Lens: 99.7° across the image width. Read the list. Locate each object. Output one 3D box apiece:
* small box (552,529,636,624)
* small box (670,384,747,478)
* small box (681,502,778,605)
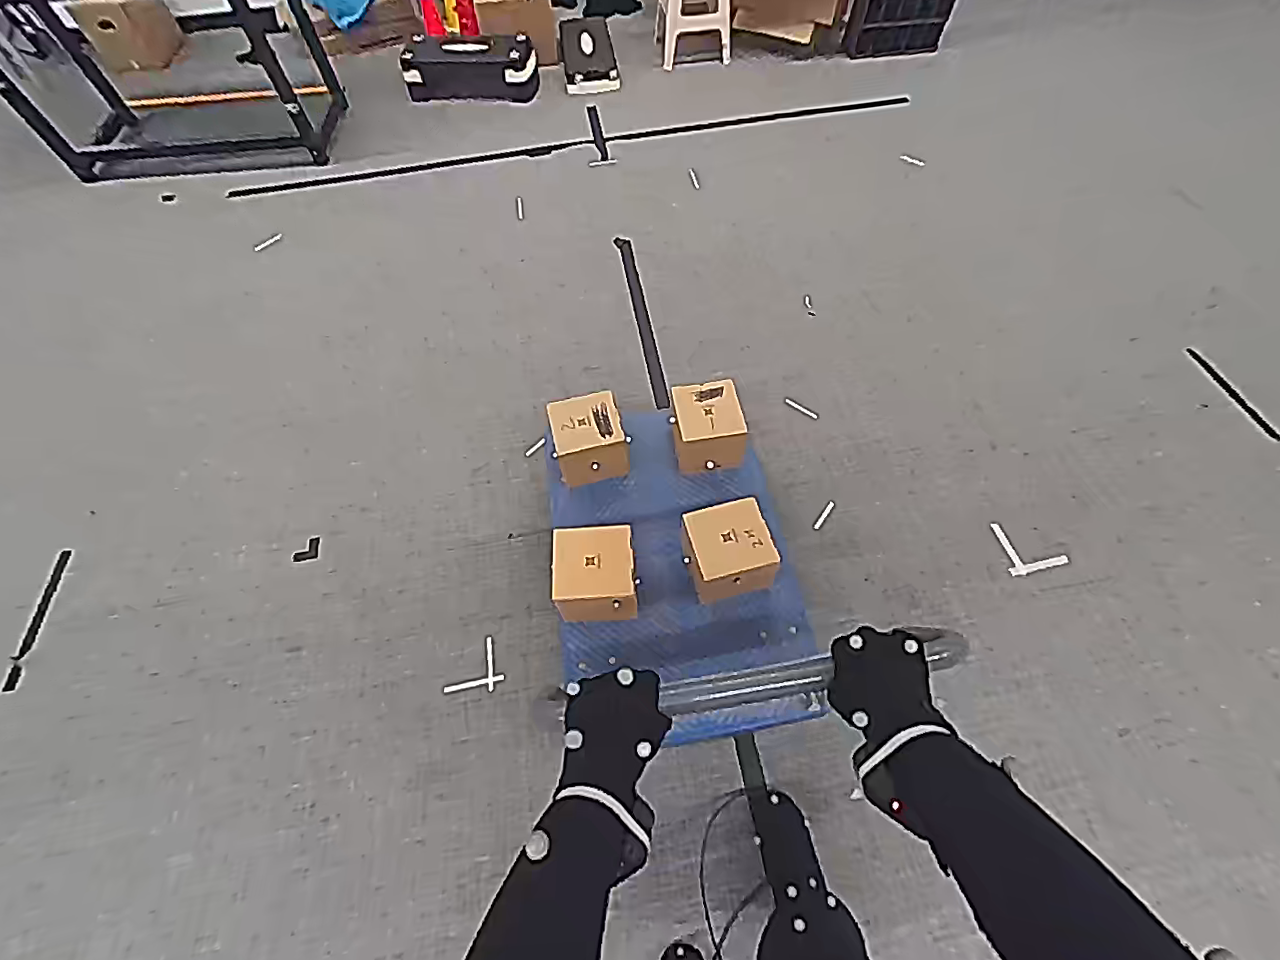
[{"bbox_3d":[-0.102,0.227,1.247,0.179,0.176,0.168,-3,59,-1],"label":"small box"},{"bbox_3d":[0.174,-0.128,1.444,0.168,0.176,0.179,-8,61,-3],"label":"small box"},{"bbox_3d":[0.201,0.177,1.263,0.179,0.176,0.168,-14,60,-5],"label":"small box"}]
